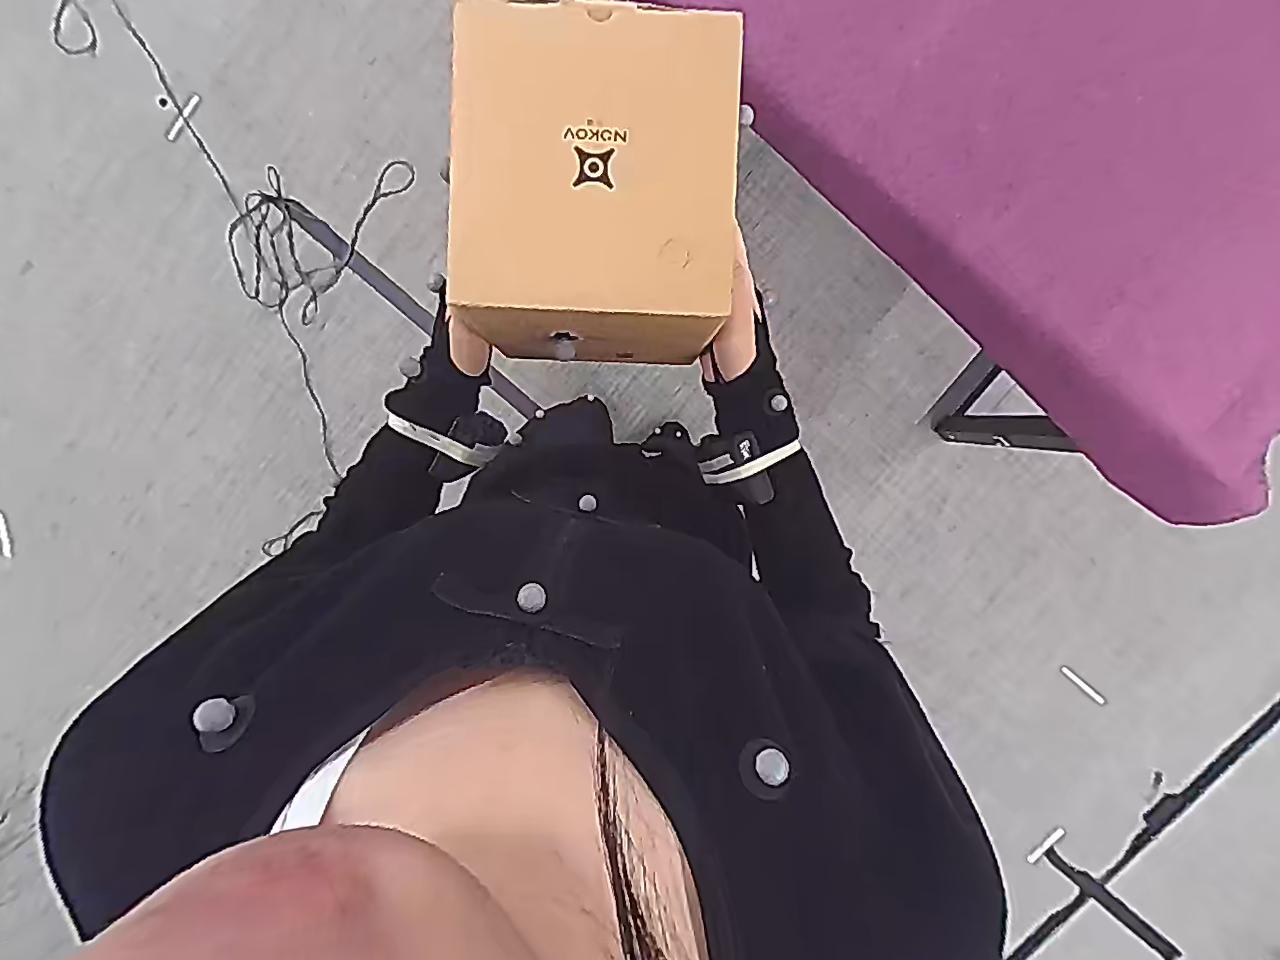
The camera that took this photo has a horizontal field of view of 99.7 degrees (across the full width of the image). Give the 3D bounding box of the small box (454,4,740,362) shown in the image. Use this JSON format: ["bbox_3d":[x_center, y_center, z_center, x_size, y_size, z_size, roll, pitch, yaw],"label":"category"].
[{"bbox_3d":[-0.027,-0.187,0.396,0.168,0.176,0.179,1,91,-2],"label":"small box"}]

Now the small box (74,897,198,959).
[{"bbox_3d":[-1.075,1.029,1.118,0.168,0.176,0.179,36,98,-1],"label":"small box"}]
